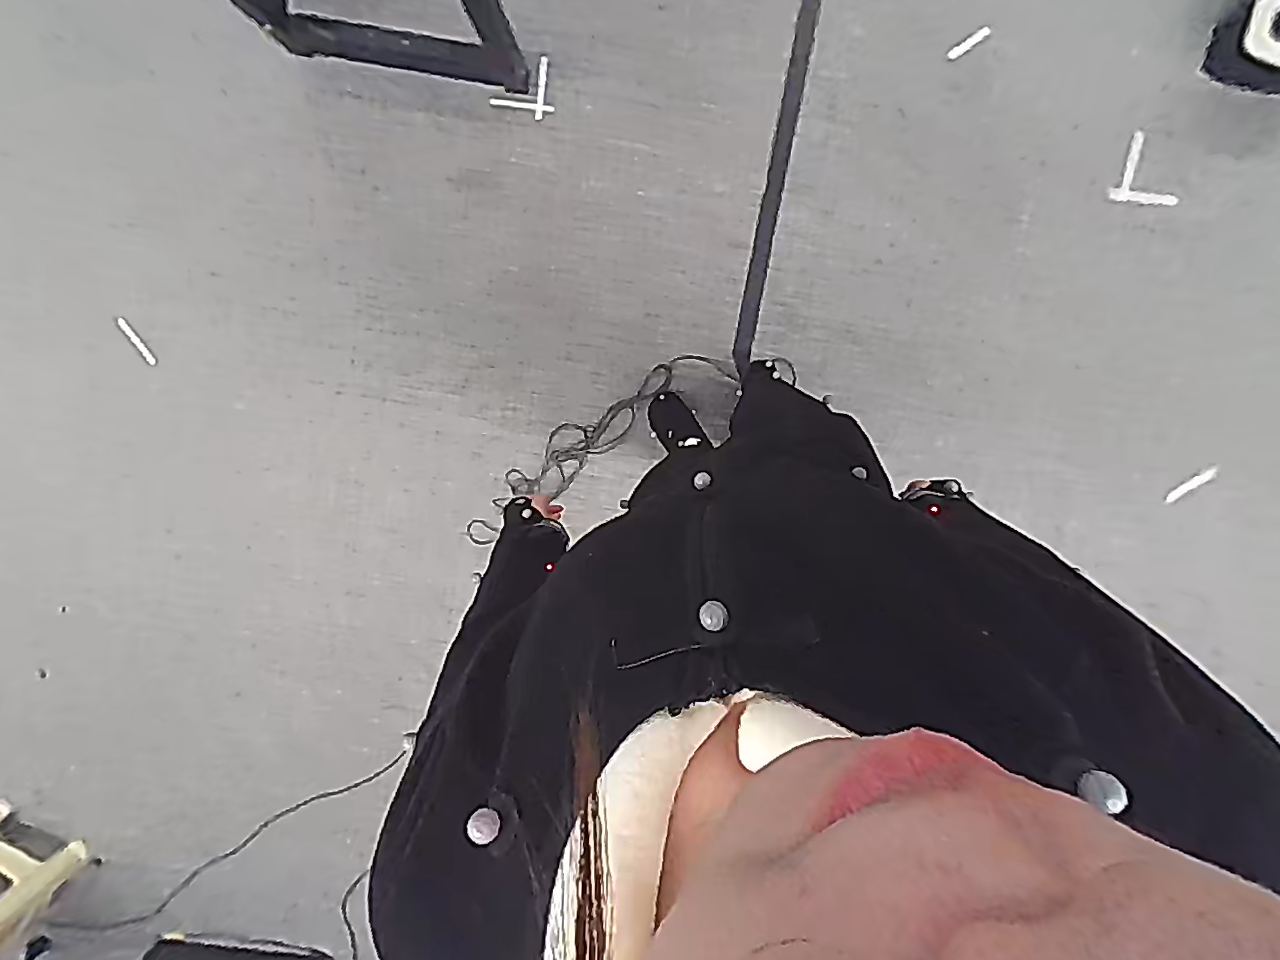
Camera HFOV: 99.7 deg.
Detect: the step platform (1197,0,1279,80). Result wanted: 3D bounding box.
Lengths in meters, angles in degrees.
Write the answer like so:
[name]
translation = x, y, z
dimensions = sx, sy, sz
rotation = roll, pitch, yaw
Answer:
[step platform]
translation = 1.514, -1.269, 1.119
dimensions = 0.286, 0.204, 0.684
rotation = 14, 101, -2
